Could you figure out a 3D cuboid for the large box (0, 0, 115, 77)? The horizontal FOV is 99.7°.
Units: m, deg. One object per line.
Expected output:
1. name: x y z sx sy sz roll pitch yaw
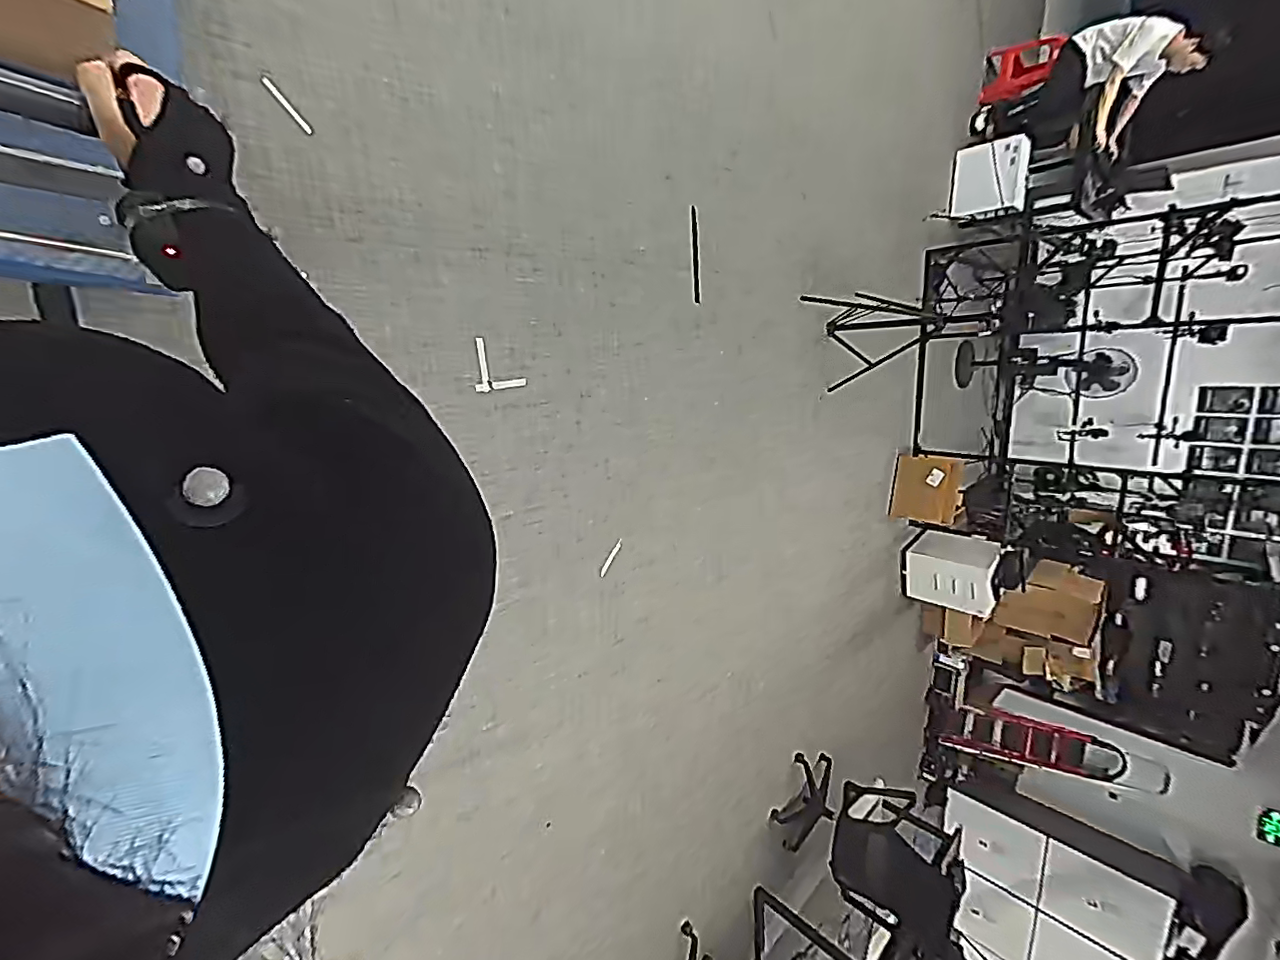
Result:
1. large box: -0.902 -0.774 0.630 0.408 0.320 0.320 -2 99 -43
